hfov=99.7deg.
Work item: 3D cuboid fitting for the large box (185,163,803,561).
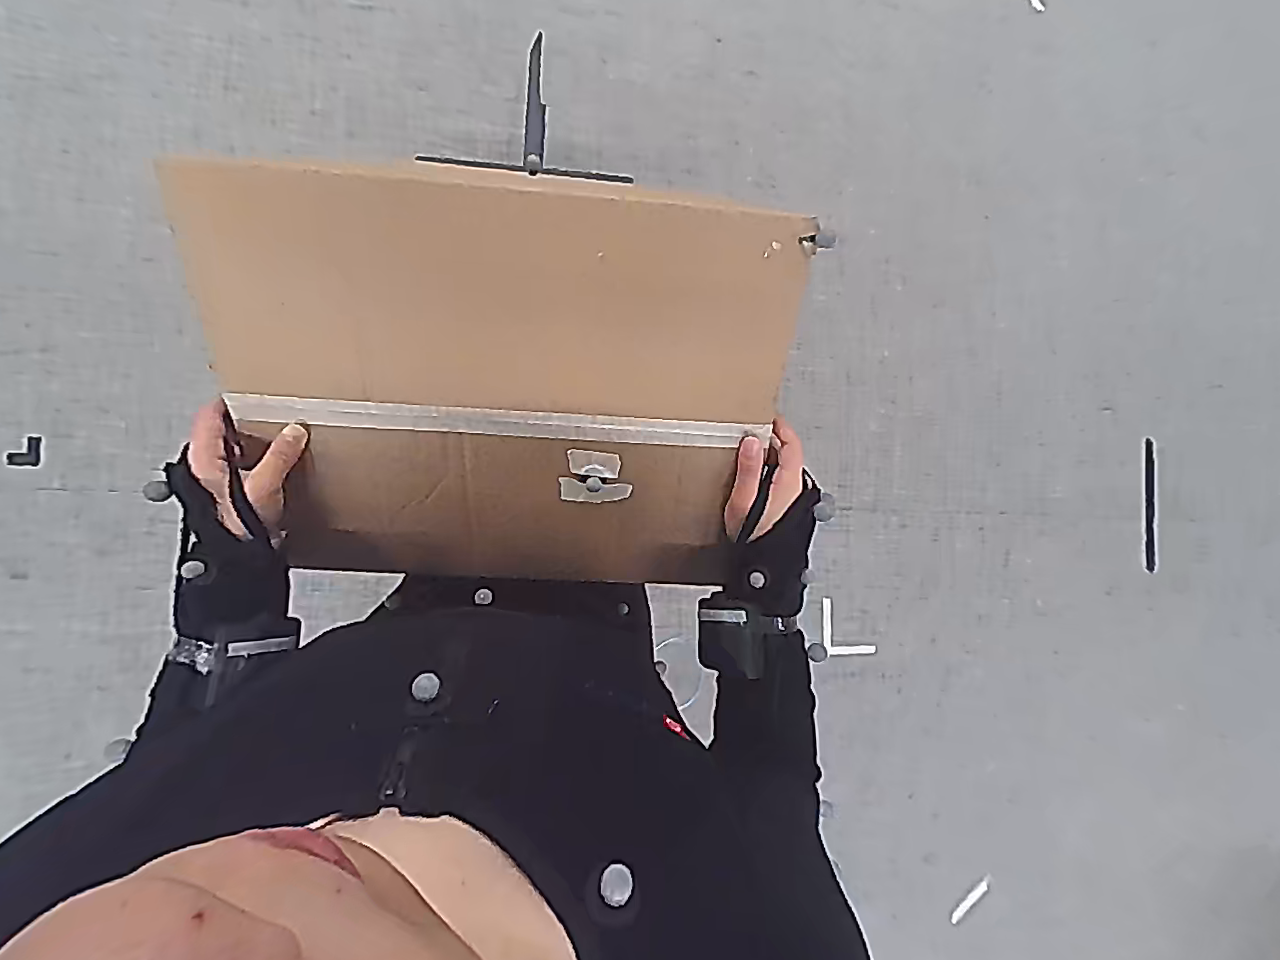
[{"bbox_3d":[-0.106,-0.133,0.551,0.408,0.320,0.320,2,122,-6],"label":"large box"}]

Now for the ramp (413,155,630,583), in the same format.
[{"bbox_3d":[-0.287,-0.225,1.314,0.509,0.206,0.991,0,90,-8],"label":"ramp"}]
